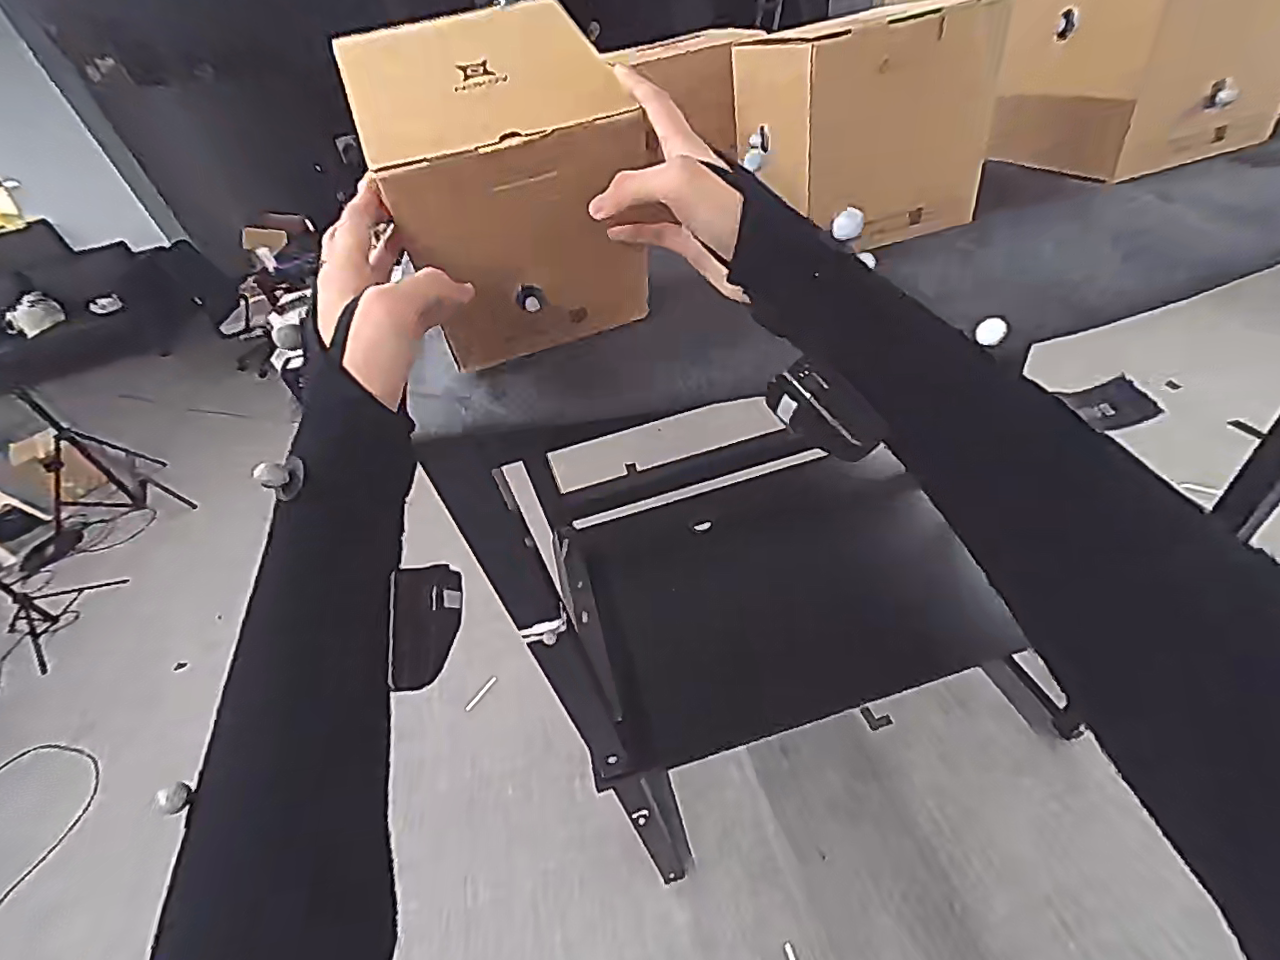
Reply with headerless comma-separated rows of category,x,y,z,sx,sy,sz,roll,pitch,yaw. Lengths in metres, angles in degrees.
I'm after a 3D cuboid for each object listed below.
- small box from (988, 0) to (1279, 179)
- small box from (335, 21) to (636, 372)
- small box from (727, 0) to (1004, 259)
small box,0.485,-0.412,0.531,0.168,0.176,0.179,-16,39,-2
small box,-0.110,-0.218,0.428,0.168,0.176,0.179,-21,60,-11
small box,0.195,-0.328,0.516,0.168,0.176,0.179,-16,39,-3
